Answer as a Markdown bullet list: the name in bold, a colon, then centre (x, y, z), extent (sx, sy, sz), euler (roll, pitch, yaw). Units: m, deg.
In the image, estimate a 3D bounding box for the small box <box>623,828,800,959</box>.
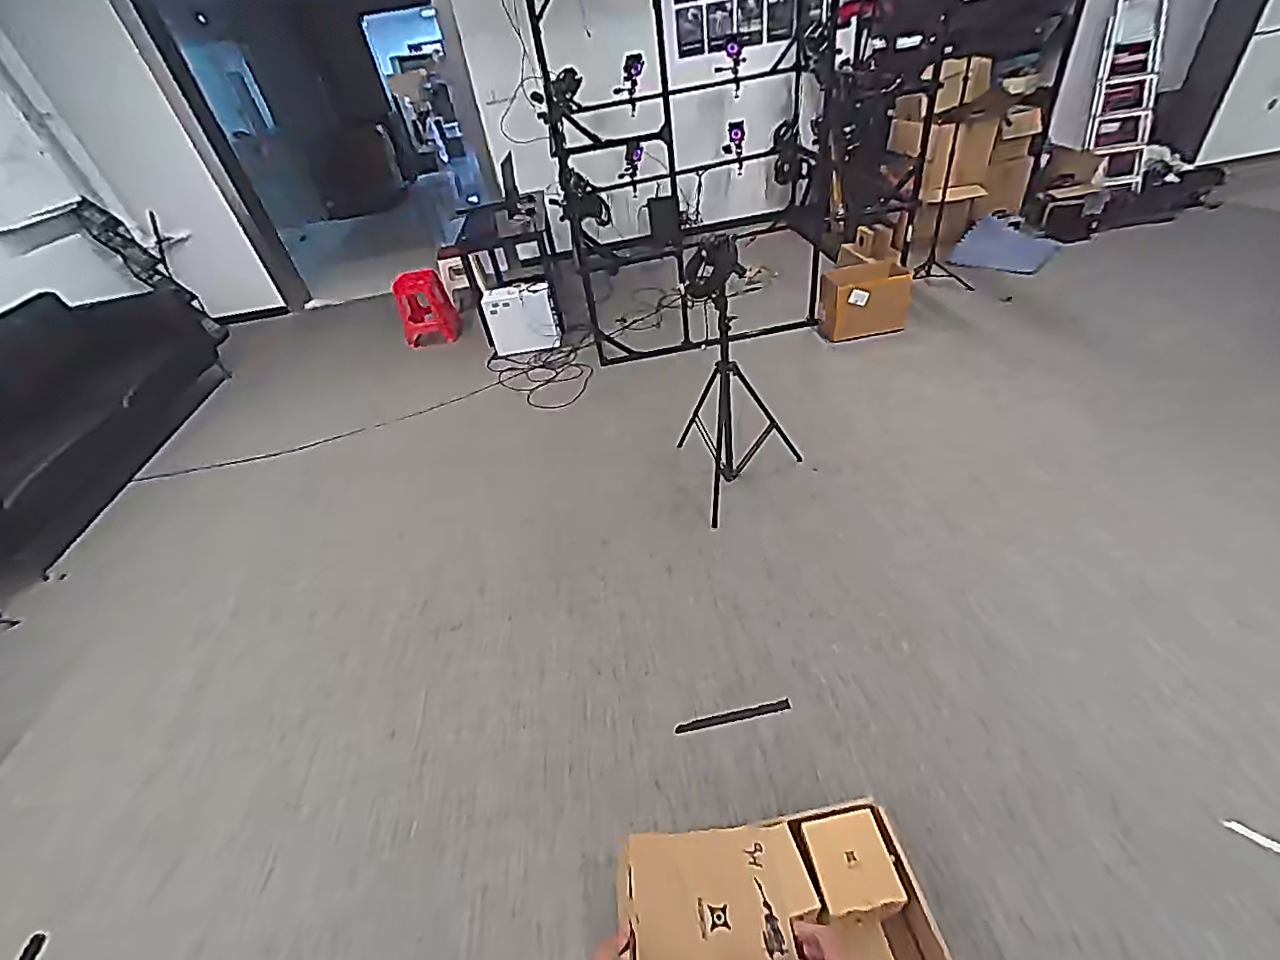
- **small box**: centre (0.071, 0.527, 0.629), extent (0.179, 0.176, 0.168), euler (1, 42, -6)
